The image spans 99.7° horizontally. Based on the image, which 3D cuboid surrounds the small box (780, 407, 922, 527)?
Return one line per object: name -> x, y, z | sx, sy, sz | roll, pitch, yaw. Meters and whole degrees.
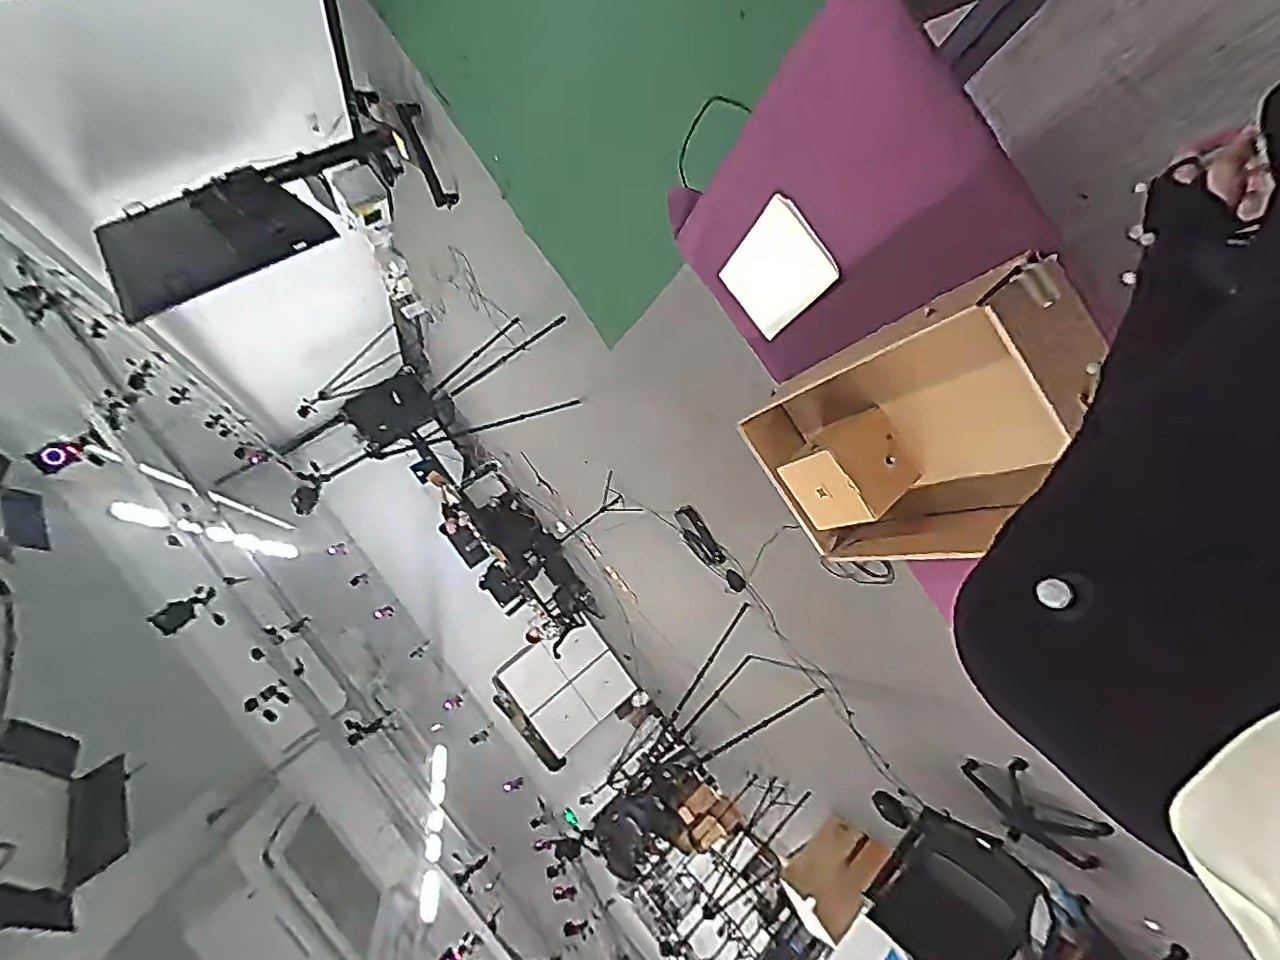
small box -> 0.436, -0.024, 1.122 | 0.168, 0.176, 0.179 | 55, 156, -1
